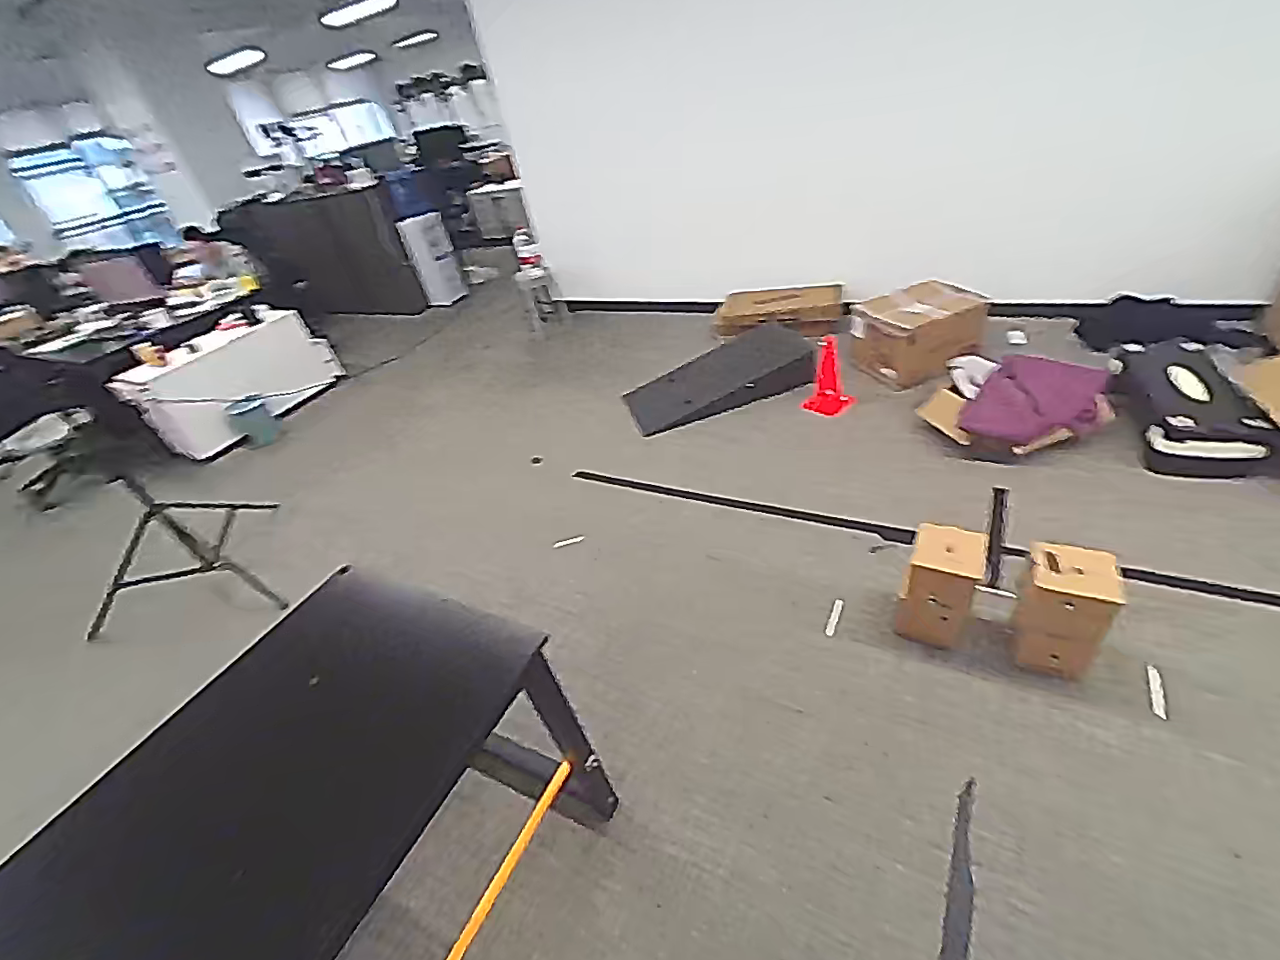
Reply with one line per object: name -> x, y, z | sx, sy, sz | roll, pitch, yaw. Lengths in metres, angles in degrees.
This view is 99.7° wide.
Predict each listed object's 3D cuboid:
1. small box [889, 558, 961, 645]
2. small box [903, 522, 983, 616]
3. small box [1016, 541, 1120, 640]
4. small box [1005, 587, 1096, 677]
small box -> 0.866, 0.369, 1.631 | 0.179, 0.176, 0.168 | 11, 43, 29
small box -> 0.849, 0.248, 1.522 | 0.168, 0.176, 0.179 | 11, 45, 30
small box -> 1.093, 0.286, 1.400 | 0.179, 0.176, 0.168 | 9, 43, 26
small box -> 1.131, 0.413, 1.500 | 0.168, 0.176, 0.179 | 9, 43, 26
